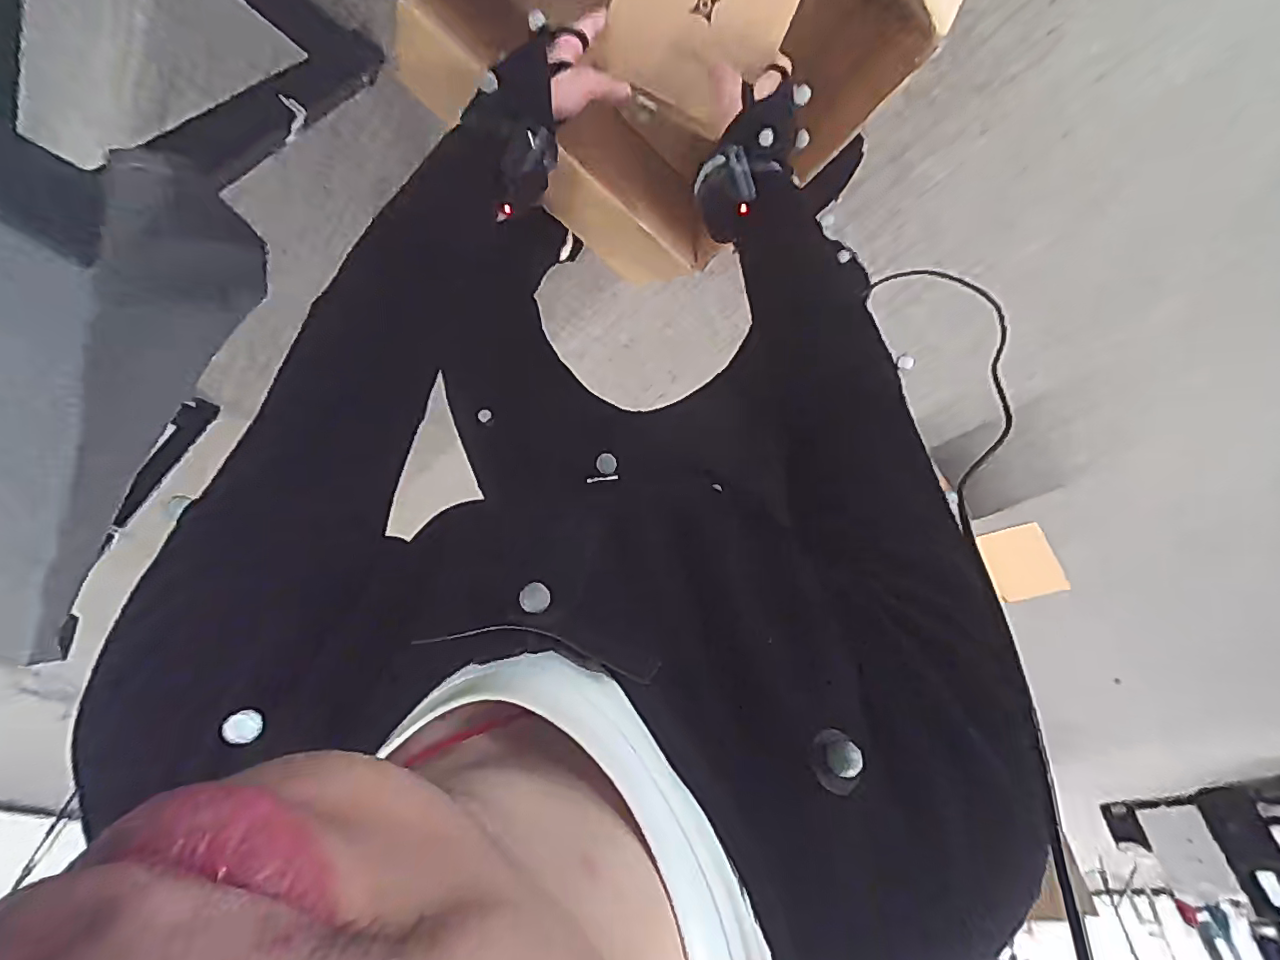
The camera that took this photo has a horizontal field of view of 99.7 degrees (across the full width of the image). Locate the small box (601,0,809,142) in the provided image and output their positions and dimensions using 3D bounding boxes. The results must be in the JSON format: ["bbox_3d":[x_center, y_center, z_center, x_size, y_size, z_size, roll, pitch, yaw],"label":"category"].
[{"bbox_3d":[0.061,-0.477,0.556,0.168,0.176,0.179,16,119,-14],"label":"small box"}]
